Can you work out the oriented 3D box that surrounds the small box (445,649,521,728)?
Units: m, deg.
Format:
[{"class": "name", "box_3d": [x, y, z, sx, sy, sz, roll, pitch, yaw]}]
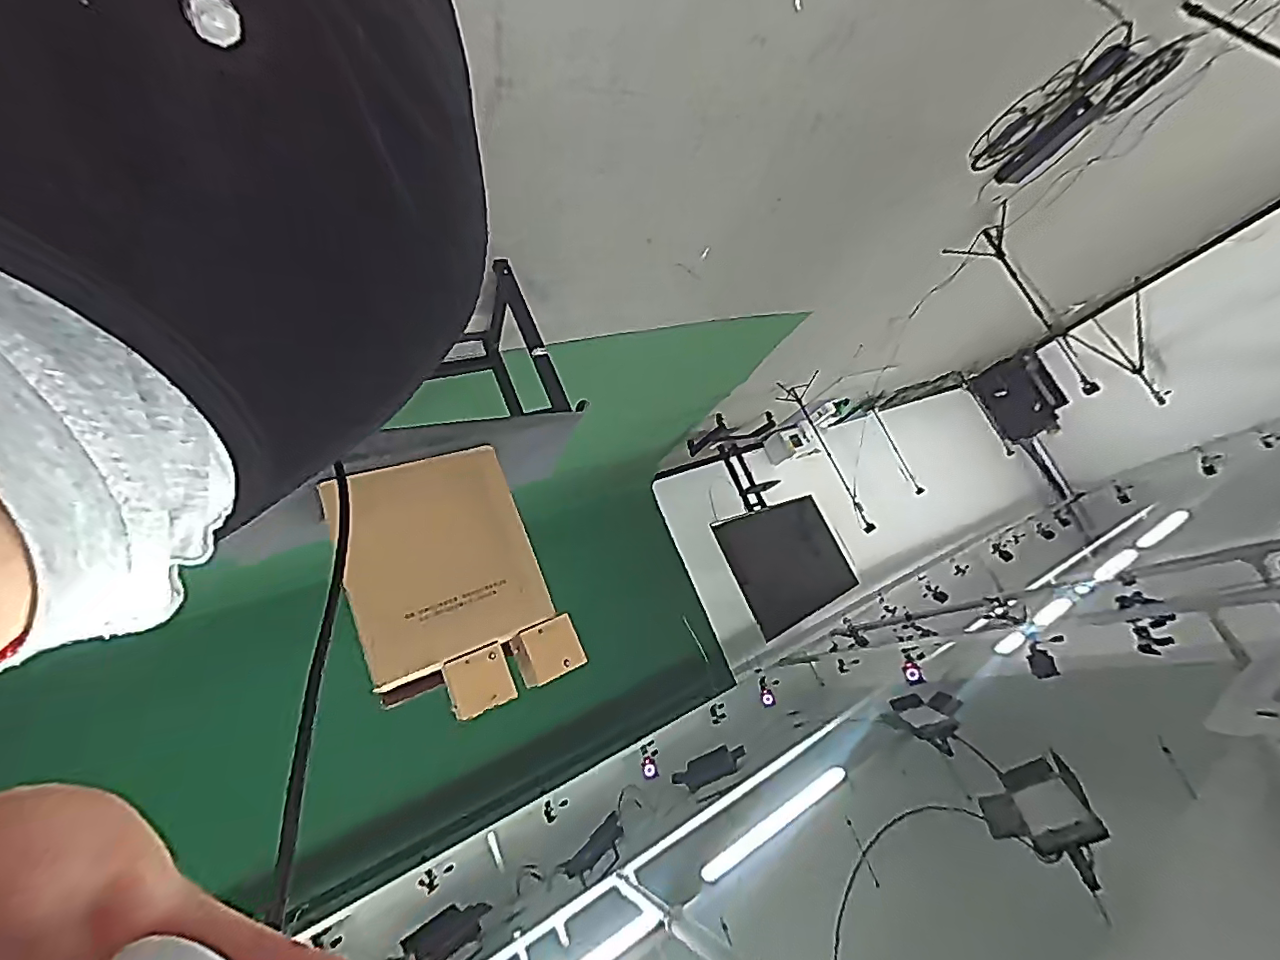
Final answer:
[{"class": "small box", "box_3d": [-0.479, 0.626, 1.631, 0.168, 0.176, 0.179, -17, 165, -29]}]

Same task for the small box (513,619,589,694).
[{"class": "small box", "box_3d": [-0.291, 0.564, 1.735, 0.168, 0.176, 0.179, -20, 167, -32]}]
